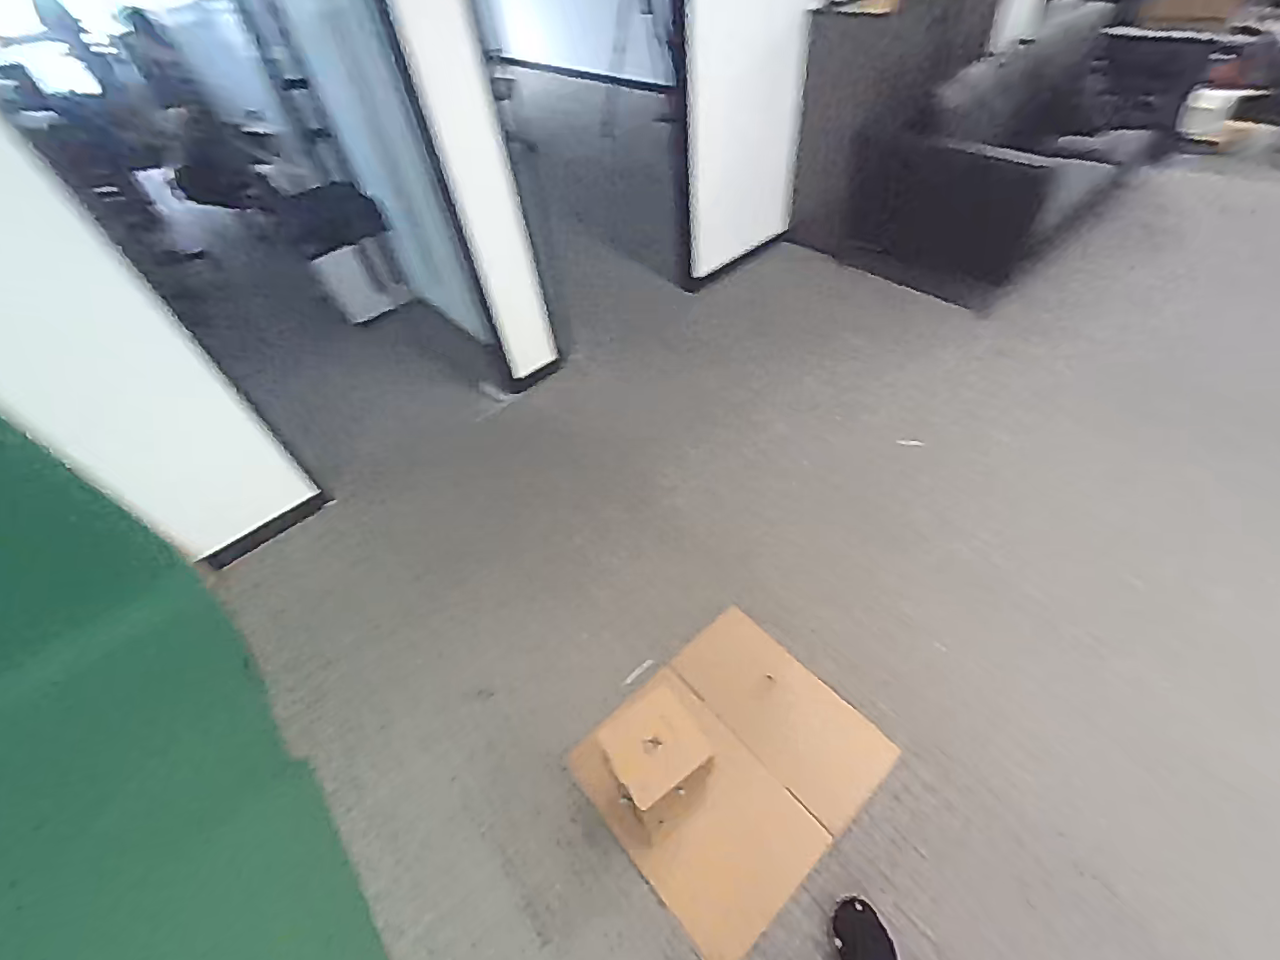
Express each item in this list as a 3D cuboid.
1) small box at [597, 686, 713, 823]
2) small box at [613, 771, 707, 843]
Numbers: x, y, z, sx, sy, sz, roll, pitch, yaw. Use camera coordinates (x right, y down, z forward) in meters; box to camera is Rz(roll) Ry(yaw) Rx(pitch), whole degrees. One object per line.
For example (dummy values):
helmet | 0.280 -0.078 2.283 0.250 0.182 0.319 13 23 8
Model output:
small box | 0.037 0.567 1.111 0.179 0.176 0.168 -30 52 -18
small box | 0.057 0.775 1.363 0.179 0.176 0.168 -32 52 -20
